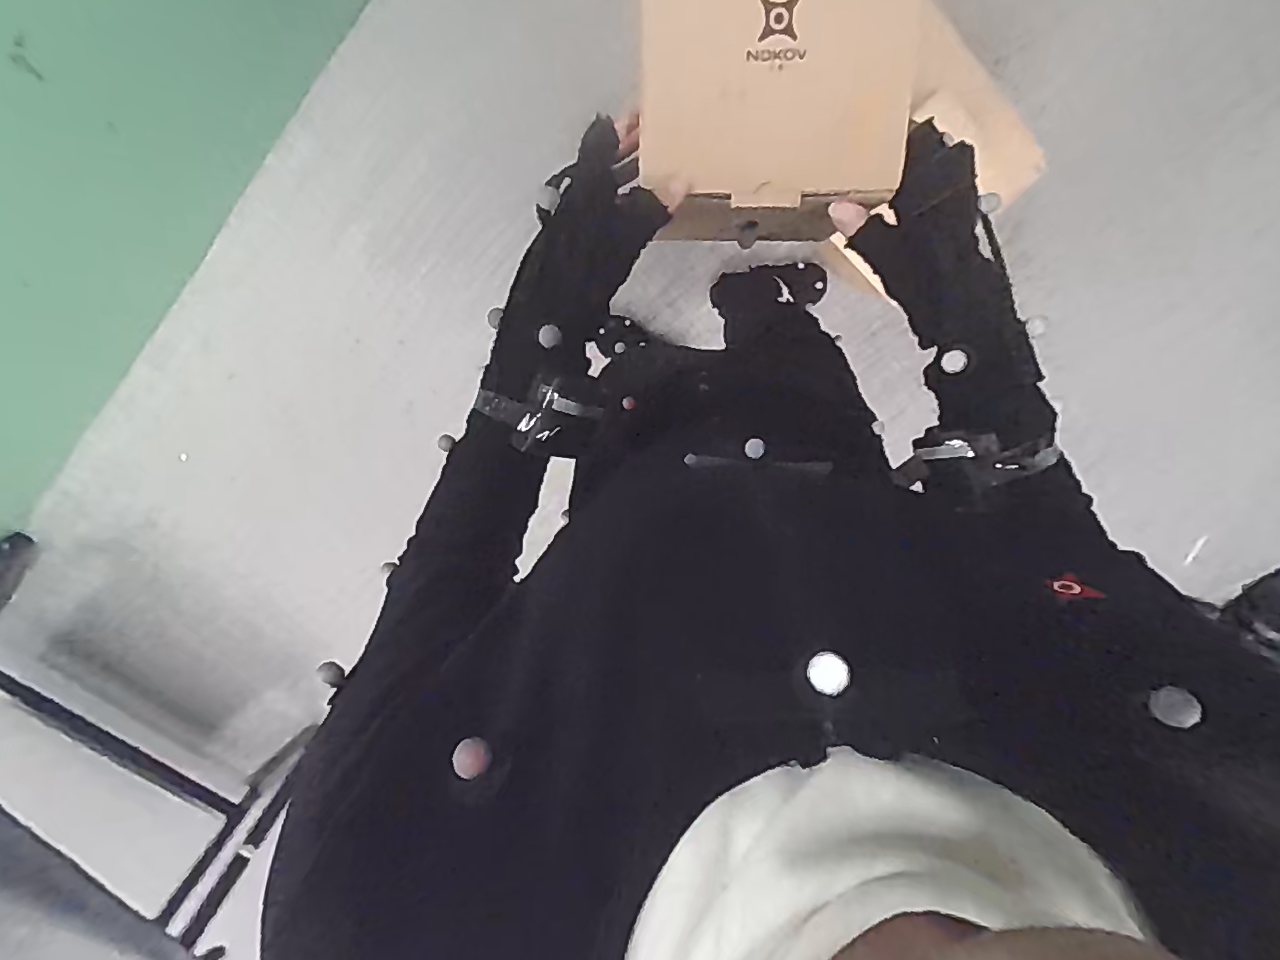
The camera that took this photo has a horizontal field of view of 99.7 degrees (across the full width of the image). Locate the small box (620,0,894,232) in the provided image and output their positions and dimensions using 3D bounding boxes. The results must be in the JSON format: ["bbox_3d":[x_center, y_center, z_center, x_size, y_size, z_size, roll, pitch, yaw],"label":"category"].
[{"bbox_3d":[0.076,-0.290,0.407,0.168,0.176,0.179,0,106,4],"label":"small box"}]

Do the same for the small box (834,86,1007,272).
[{"bbox_3d":[0.408,-0.455,0.836,0.168,0.176,0.179,-40,107,21],"label":"small box"}]
